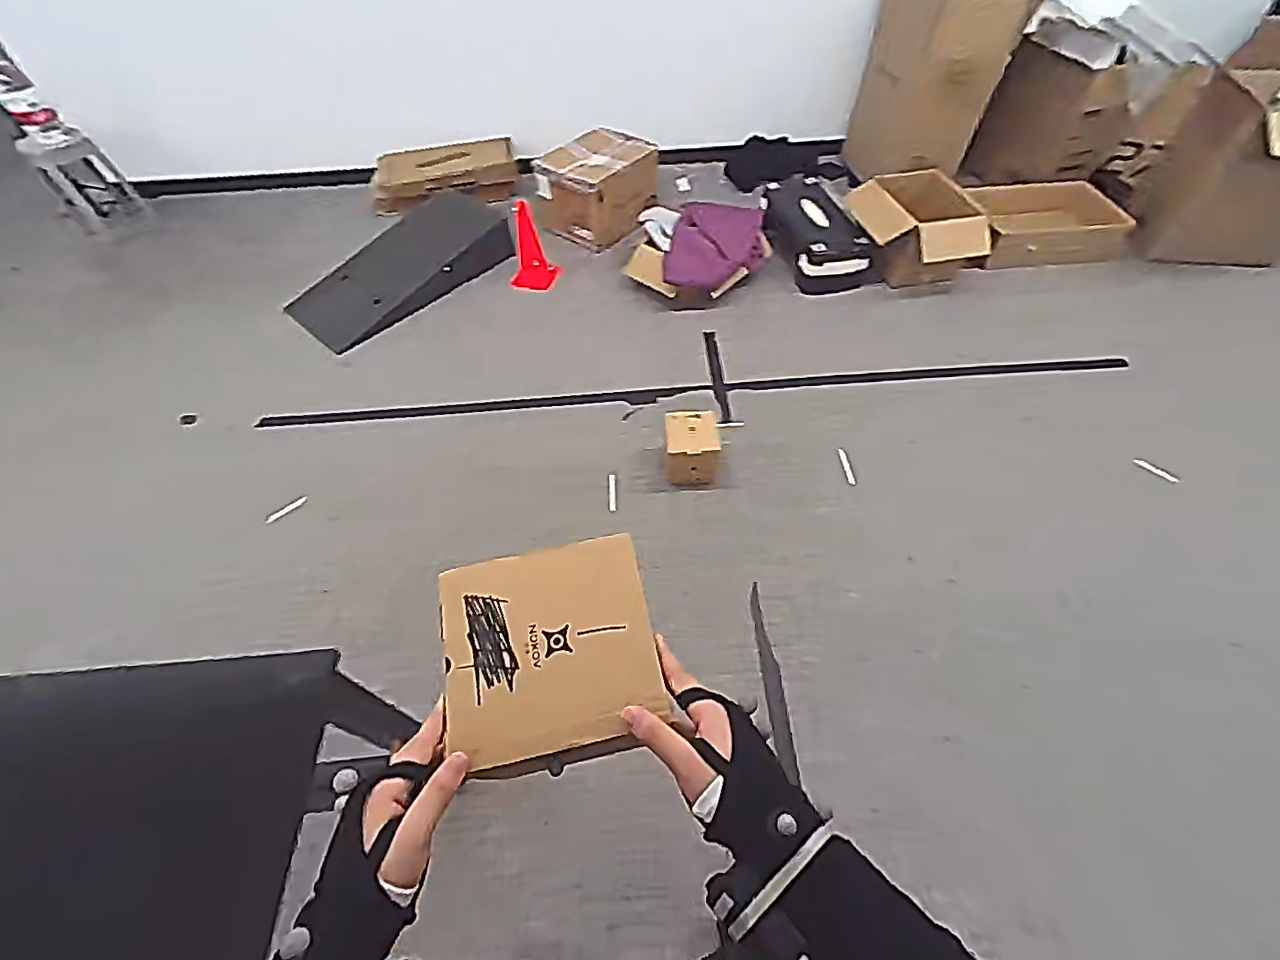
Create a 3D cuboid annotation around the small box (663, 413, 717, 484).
[{"bbox_3d":[0.163,-0.098,1.795,0.168,0.176,0.179,-3,54,1],"label":"small box"}]
